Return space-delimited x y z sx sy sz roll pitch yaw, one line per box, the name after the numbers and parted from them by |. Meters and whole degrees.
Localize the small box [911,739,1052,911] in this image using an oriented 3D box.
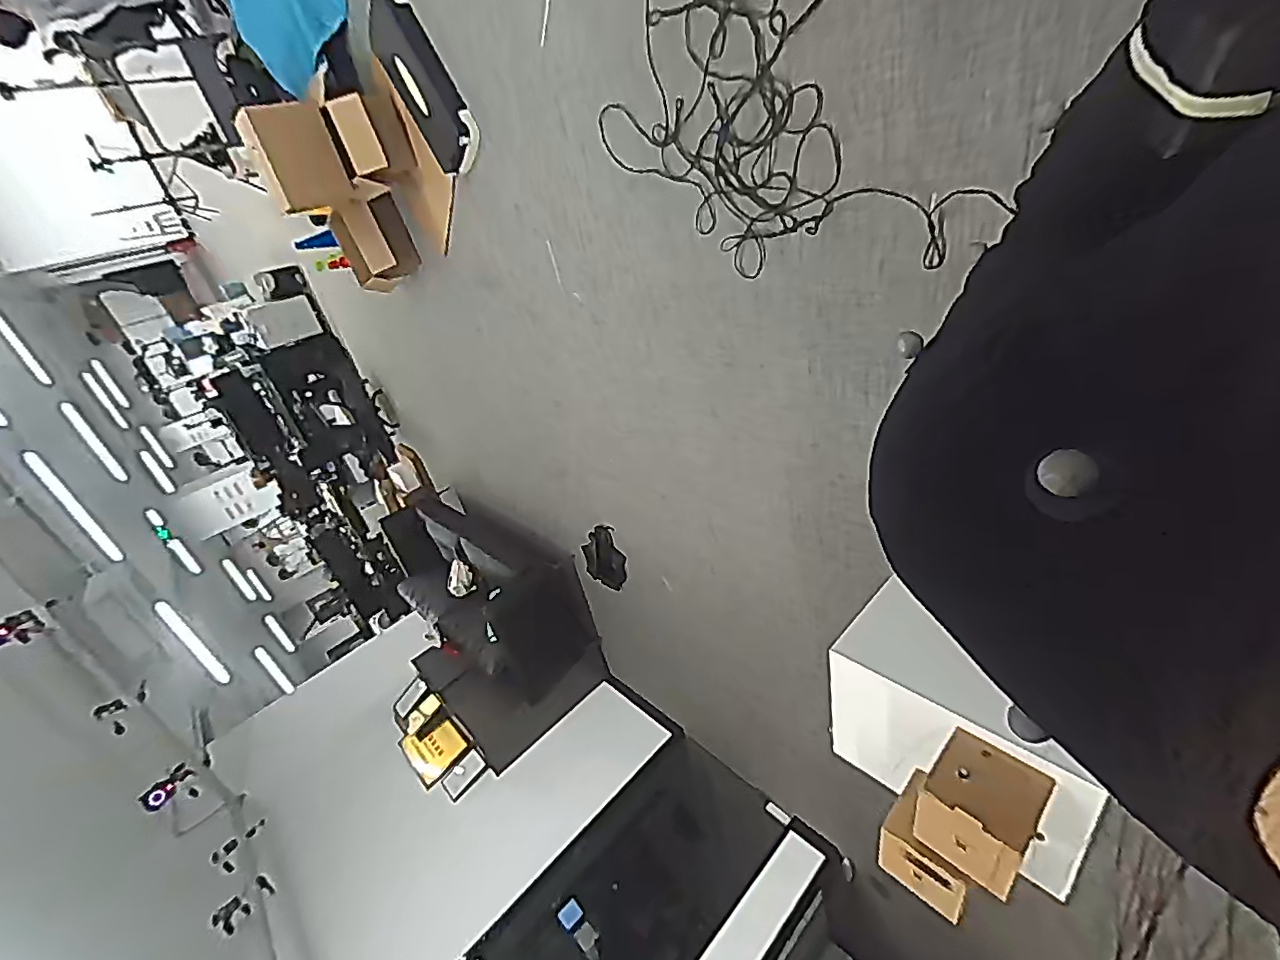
0.630 0.627 1.001 0.168 0.176 0.179 23 137 45 | small box
